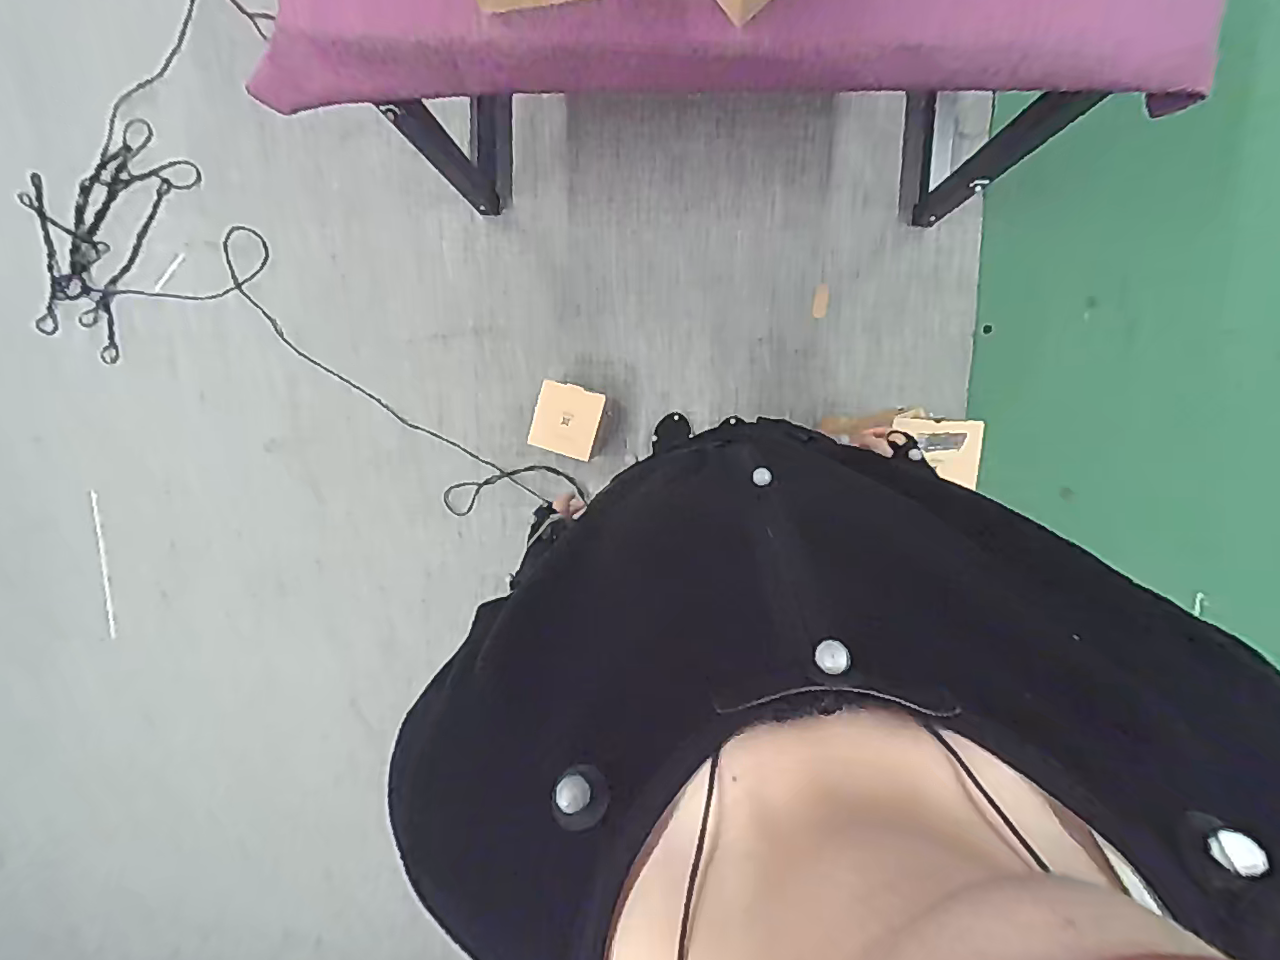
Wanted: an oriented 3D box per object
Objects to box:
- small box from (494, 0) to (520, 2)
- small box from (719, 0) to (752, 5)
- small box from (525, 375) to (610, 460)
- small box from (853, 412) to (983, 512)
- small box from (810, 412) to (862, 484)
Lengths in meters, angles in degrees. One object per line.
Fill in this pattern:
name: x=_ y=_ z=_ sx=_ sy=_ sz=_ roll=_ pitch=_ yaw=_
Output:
small box: x=-0.140 y=-0.701 z=0.621 sx=0.168 sy=0.176 sz=0.179 roll=-6 pitch=95 yaw=4
small box: x=0.128 y=-0.695 z=0.604 sx=0.168 sy=0.176 sz=0.179 roll=-39 pitch=93 yaw=6
small box: x=-0.183 y=-0.165 z=1.424 sx=0.168 sy=0.176 sz=0.179 roll=17 pitch=99 yaw=2
small box: x=0.534 y=-0.043 z=1.064 sx=0.168 sy=0.176 sz=0.179 roll=4 pitch=99 yaw=2
small box: x=0.554 y=-0.076 z=1.391 sx=0.179 sy=0.176 sz=0.168 roll=12 pitch=98 yaw=2
